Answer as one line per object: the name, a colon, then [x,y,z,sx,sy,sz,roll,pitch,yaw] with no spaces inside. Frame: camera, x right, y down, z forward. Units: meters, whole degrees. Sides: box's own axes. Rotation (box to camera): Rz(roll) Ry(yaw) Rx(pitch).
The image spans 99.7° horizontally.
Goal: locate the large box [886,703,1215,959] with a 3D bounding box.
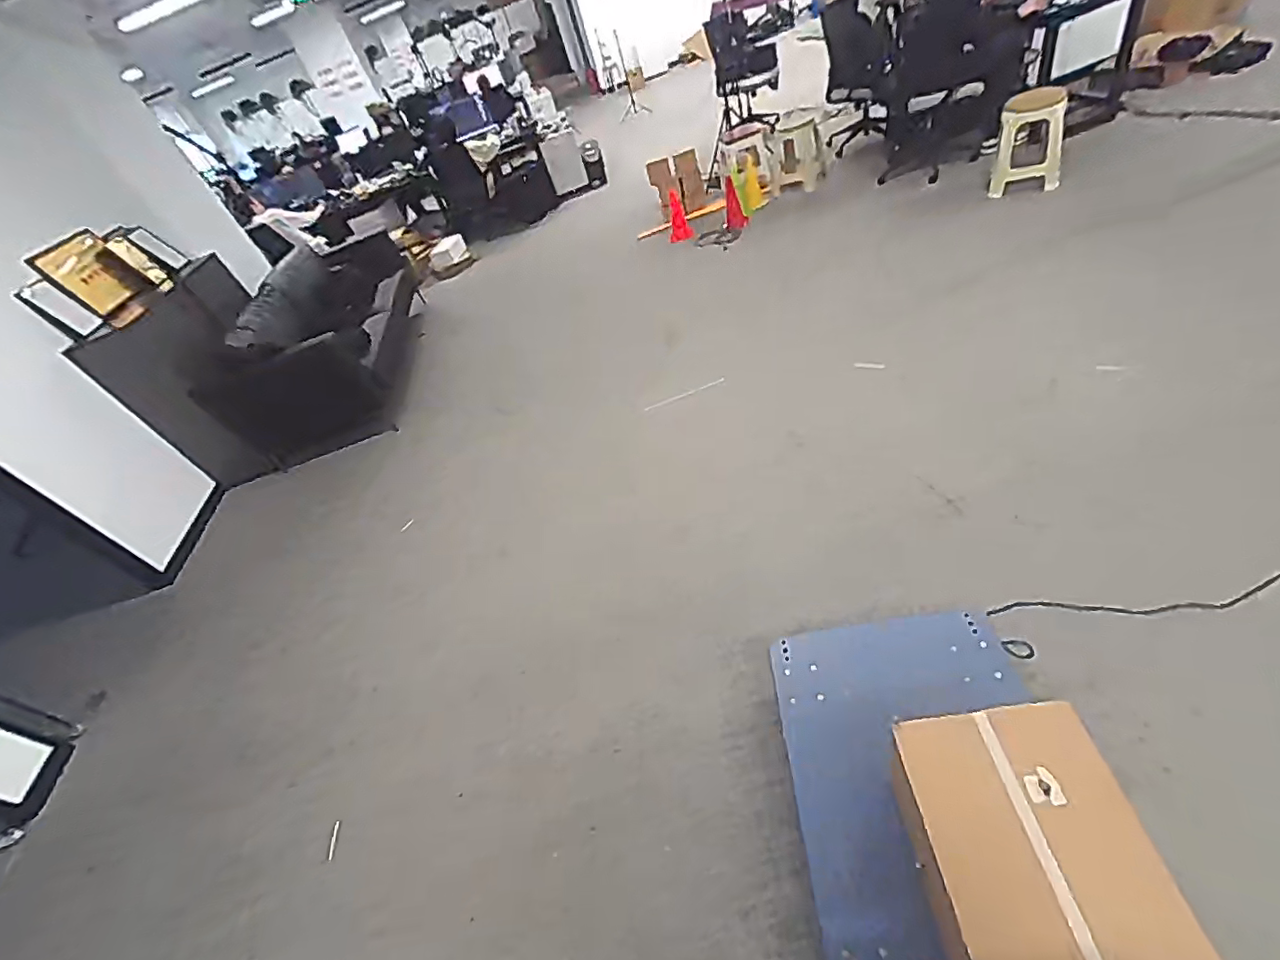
large box: [0.669,0.679,0.968,0.320,0.320,0.408,-13,43,11]
